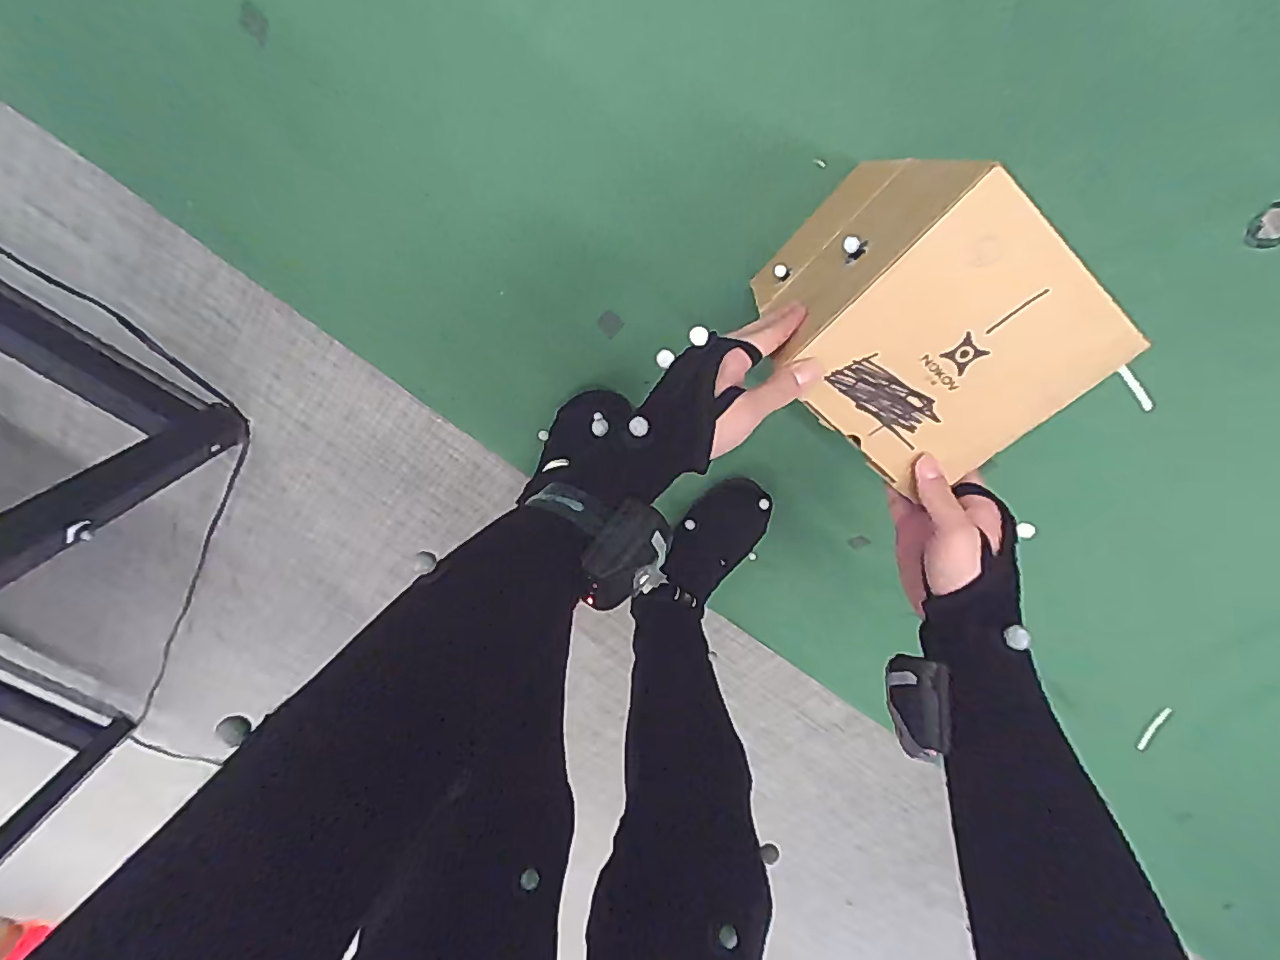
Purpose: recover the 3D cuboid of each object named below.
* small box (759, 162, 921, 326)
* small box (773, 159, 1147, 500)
[{"bbox_3d":[0.244,-0.208,0.577,0.168,0.176,0.179,37,119,-15],"label":"small box"},{"bbox_3d":[0.225,-0.124,0.437,0.168,0.176,0.179,37,118,-15],"label":"small box"}]
